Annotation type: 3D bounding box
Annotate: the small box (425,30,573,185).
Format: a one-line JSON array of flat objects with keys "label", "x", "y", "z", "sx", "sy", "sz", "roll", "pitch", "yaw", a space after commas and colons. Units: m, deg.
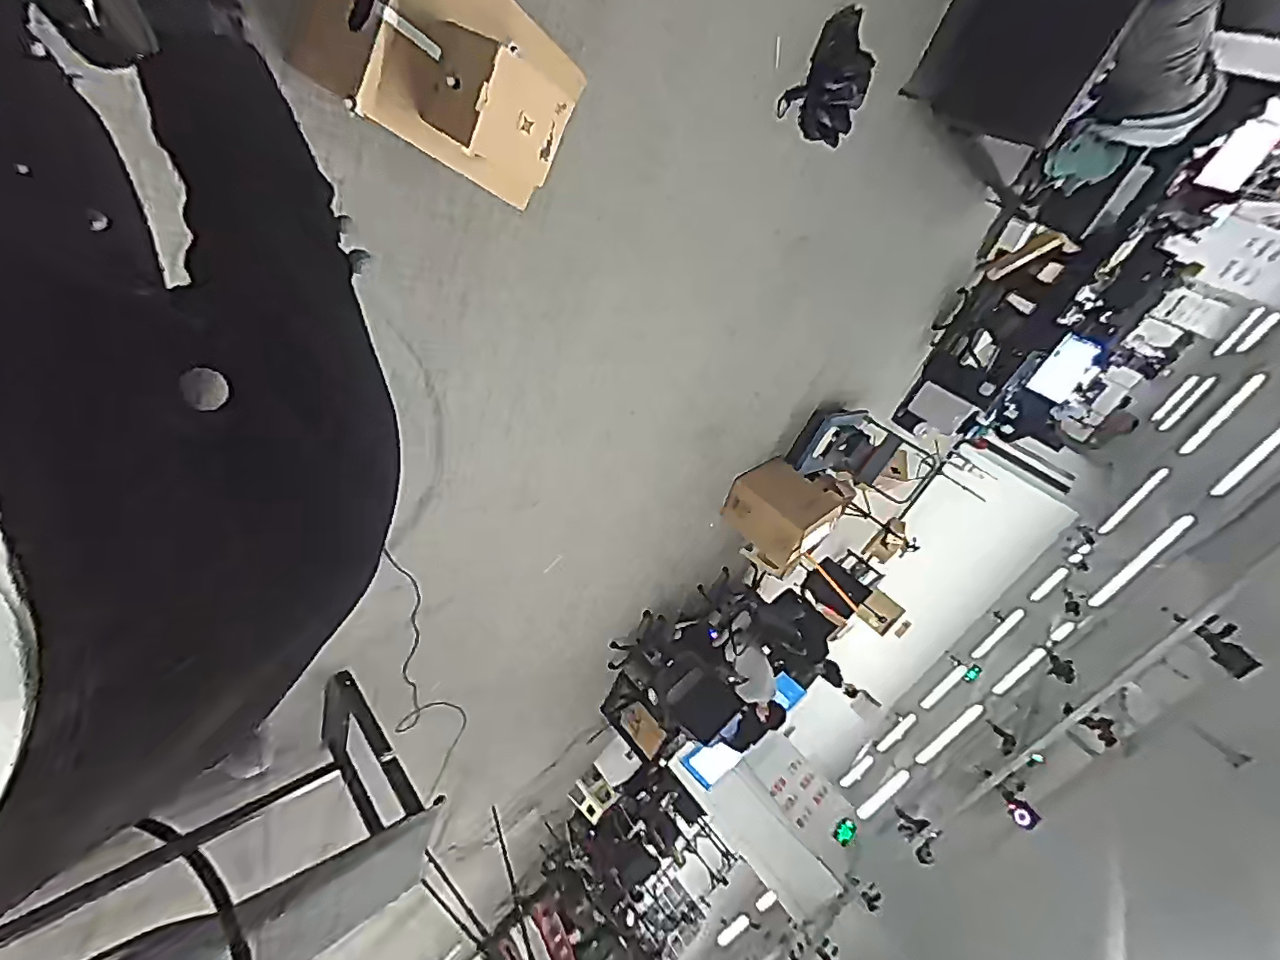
[{"label": "small box", "x": -0.264, "y": -0.681, "z": 0.993, "sx": 0.179, "sy": 0.176, "sz": 0.168, "roll": -4, "pitch": 129, "yaw": -53}]
